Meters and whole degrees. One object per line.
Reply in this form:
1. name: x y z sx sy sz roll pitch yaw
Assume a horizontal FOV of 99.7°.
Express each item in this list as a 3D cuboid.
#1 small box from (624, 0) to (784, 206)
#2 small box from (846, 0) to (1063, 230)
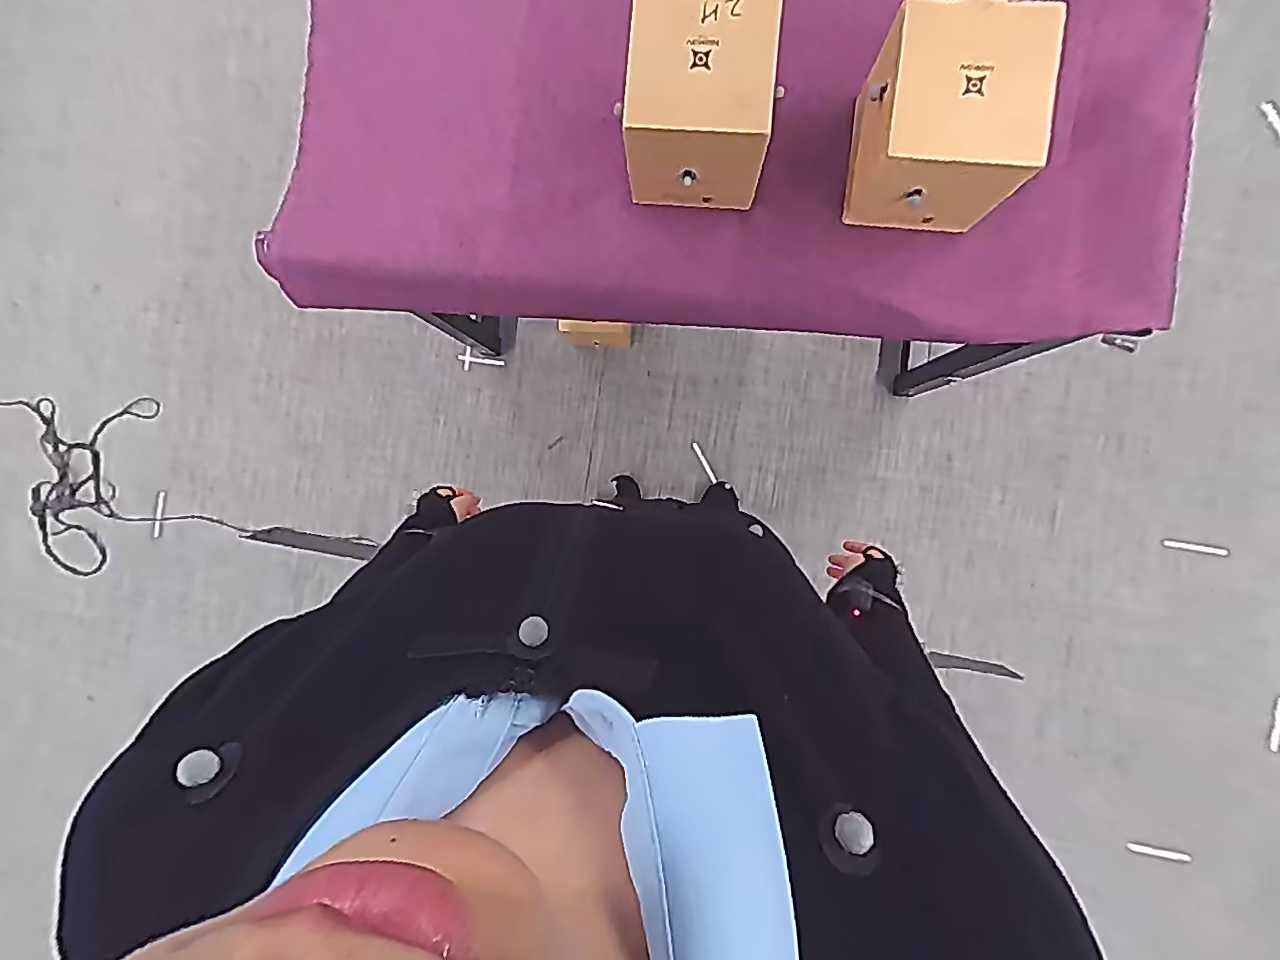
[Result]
1. small box: 0.076 -0.472 0.678 0.168 0.176 0.179 6 90 3
2. small box: 0.364 -0.428 0.660 0.168 0.176 0.179 7 91 4
